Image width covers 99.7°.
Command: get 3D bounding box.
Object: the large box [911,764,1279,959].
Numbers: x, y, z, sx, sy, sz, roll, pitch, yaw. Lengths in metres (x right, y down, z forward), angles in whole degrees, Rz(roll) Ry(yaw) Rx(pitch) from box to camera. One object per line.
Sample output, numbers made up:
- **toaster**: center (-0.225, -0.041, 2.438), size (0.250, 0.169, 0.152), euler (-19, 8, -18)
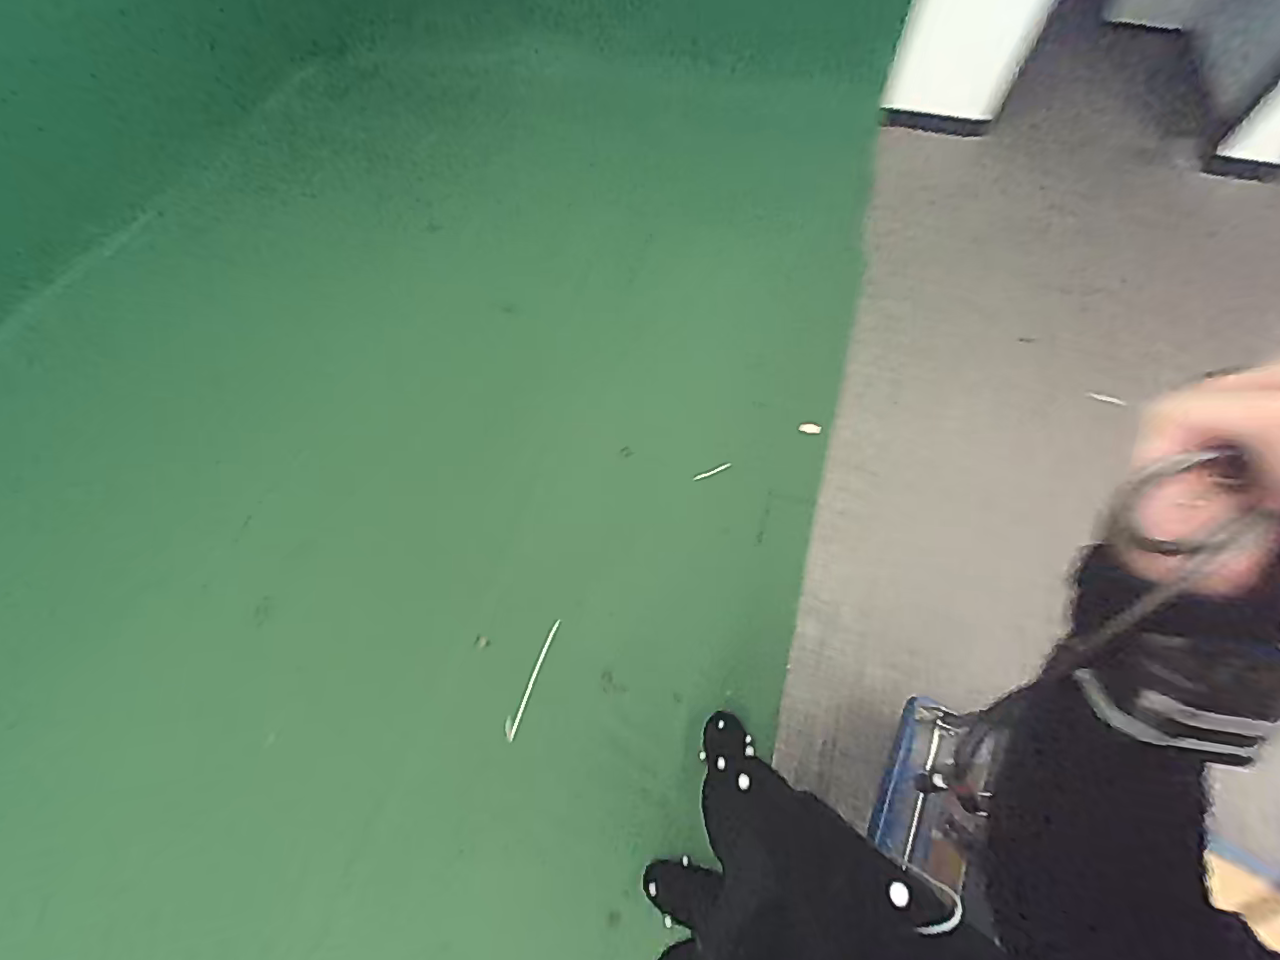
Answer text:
- **large box**: center (0.784, 0.767, 0.981), size (0.408, 0.320, 0.320), euler (25, 66, 13)
